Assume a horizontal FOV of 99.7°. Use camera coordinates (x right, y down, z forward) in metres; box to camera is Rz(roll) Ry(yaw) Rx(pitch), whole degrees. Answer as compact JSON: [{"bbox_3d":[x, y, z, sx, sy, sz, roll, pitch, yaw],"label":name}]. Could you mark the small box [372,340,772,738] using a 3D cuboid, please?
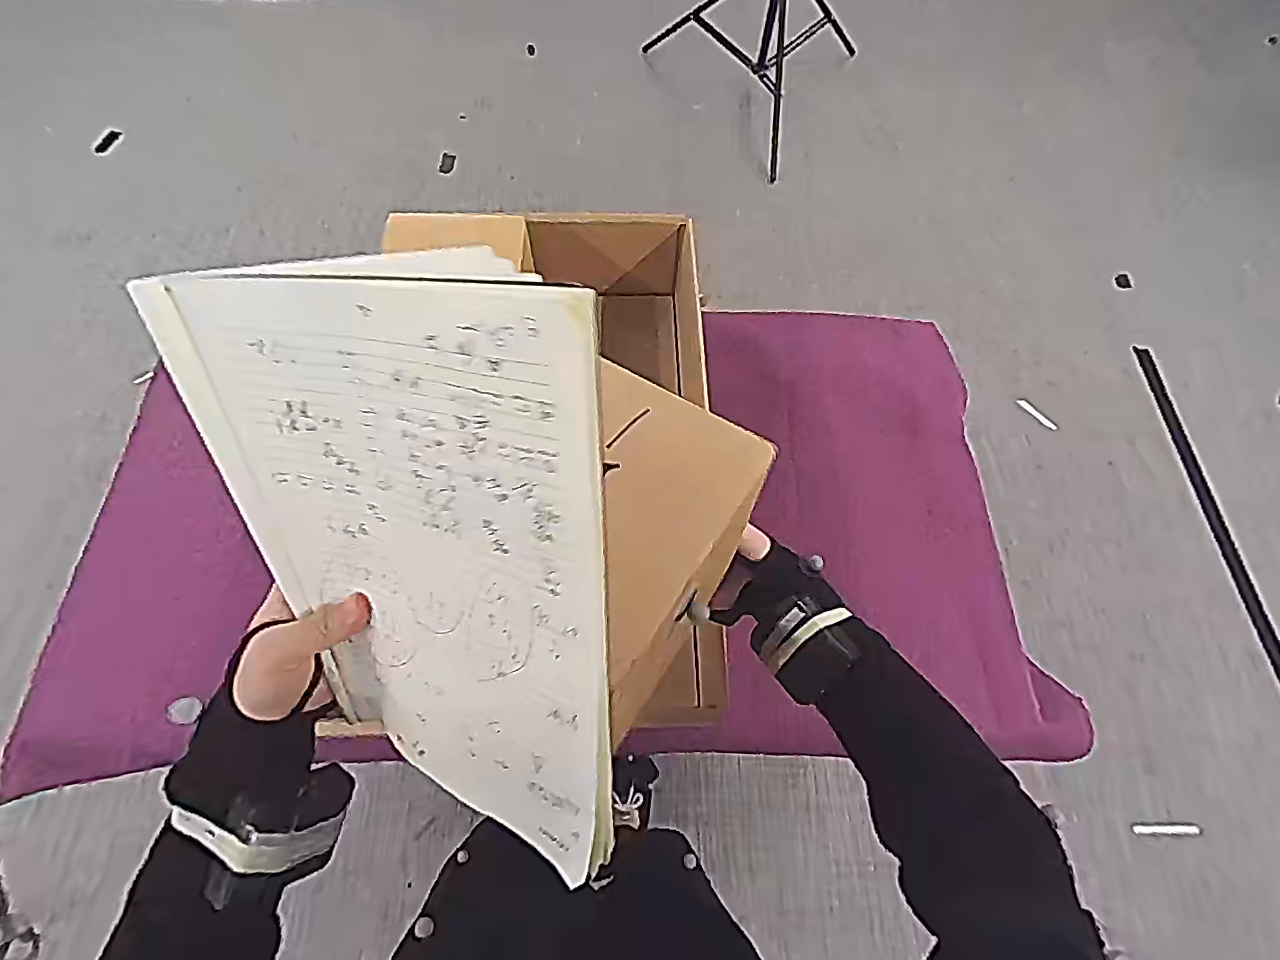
[{"bbox_3d":[-0.033,0.043,0.370,0.168,0.176,0.179,27,56,17],"label":"small box"}]
